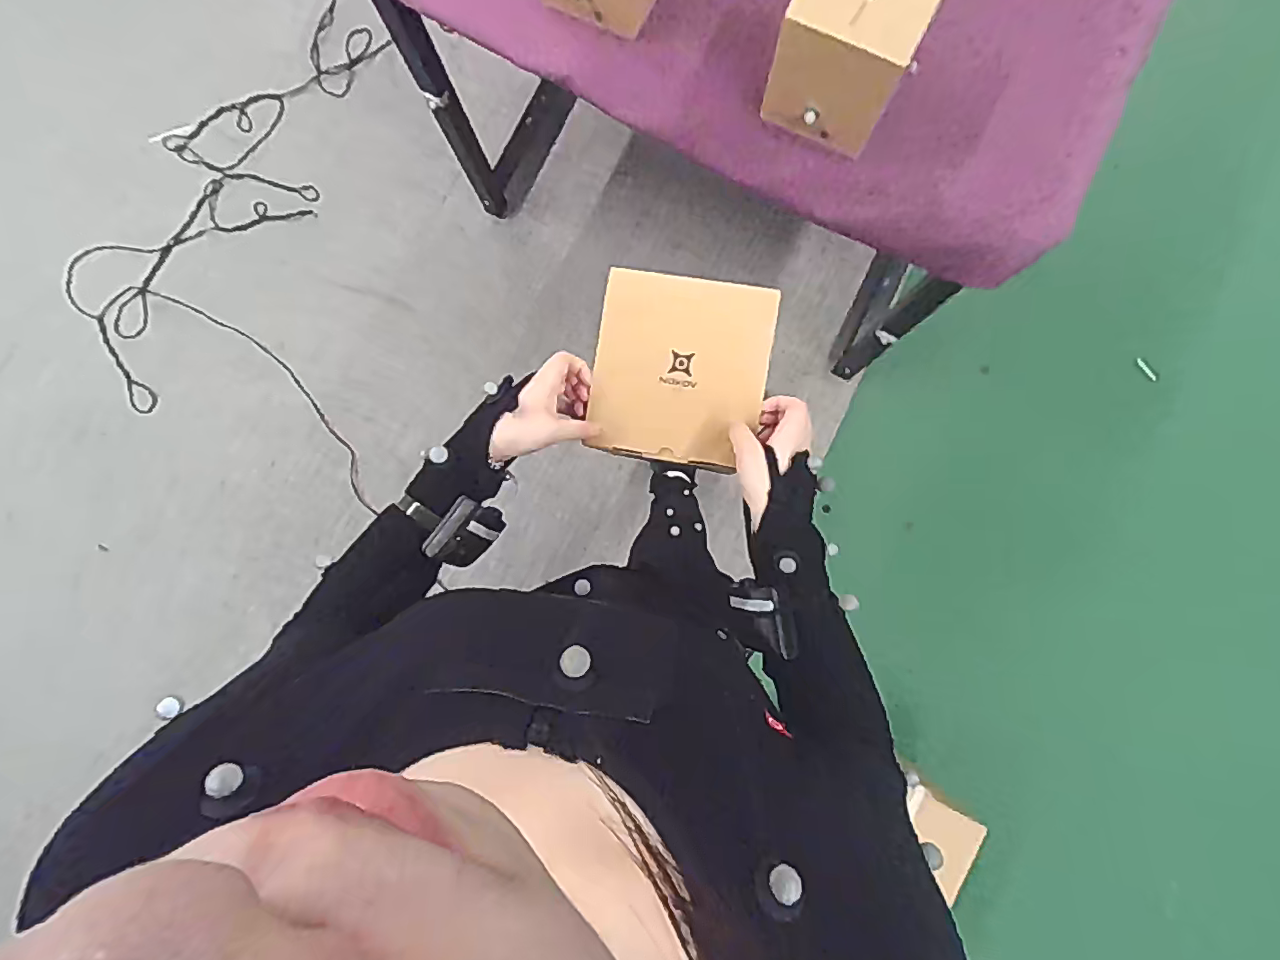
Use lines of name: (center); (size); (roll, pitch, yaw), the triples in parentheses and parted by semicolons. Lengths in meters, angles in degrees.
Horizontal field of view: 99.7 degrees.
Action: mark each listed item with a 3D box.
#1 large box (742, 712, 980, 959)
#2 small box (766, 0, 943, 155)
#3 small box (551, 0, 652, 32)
large box: (0.481, 0.835, 1.256); (0.320, 0.320, 0.408); (29, 87, 5)
small box: (0.290, -0.600, 0.737); (0.168, 0.176, 0.179); (27, 86, 5)
small box: (-0.046, -0.805, 0.766); (0.168, 0.176, 0.179); (26, 84, 5)
